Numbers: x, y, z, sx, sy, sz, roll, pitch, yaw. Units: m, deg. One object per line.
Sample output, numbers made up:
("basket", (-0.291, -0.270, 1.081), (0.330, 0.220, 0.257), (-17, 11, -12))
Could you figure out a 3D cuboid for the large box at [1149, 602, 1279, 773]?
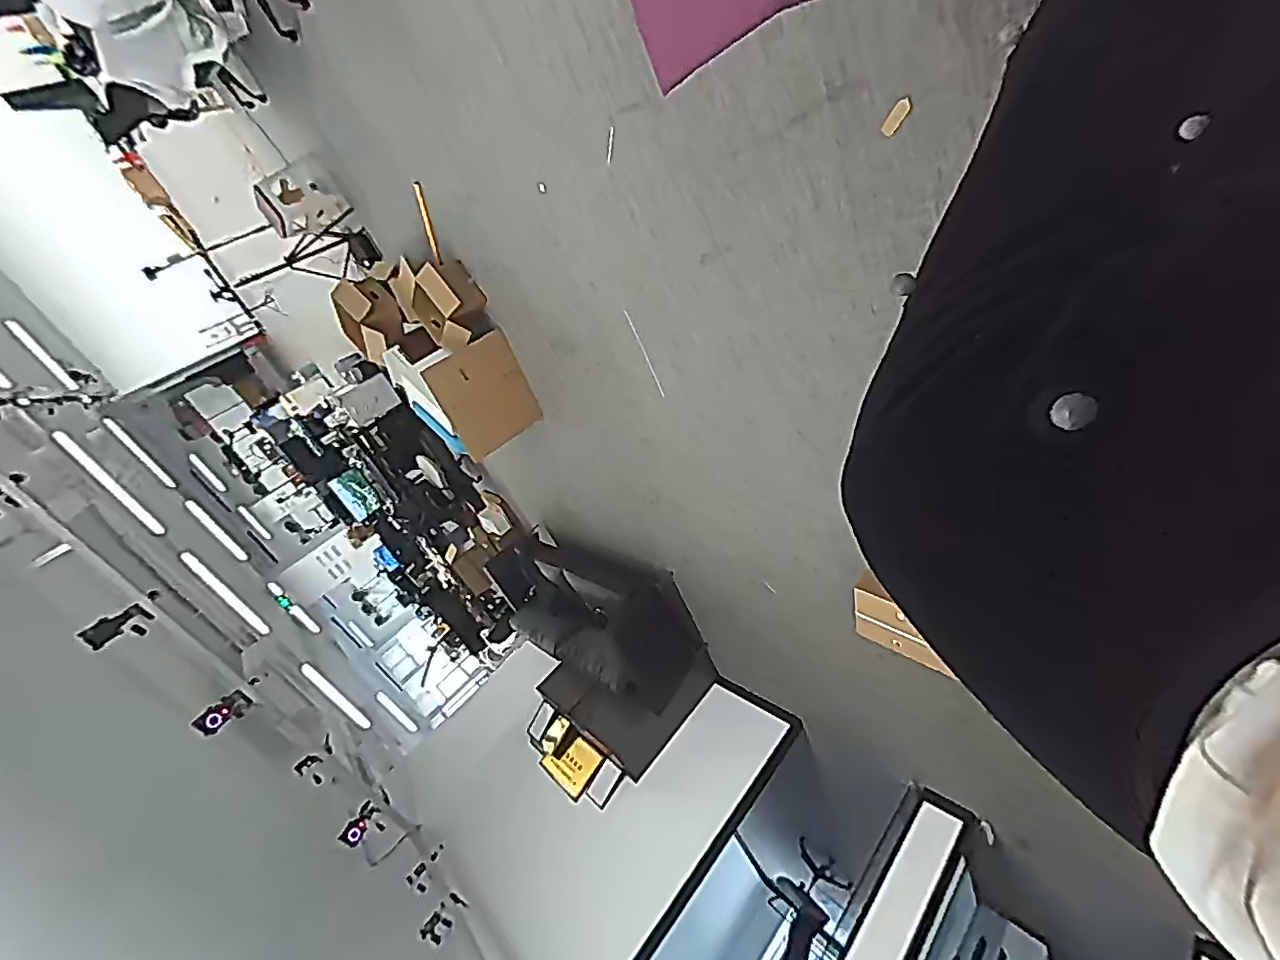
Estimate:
("large box", (1.696, 0.540, 1.415), (0.320, 0.320, 0.408), (46, 152, 1))
